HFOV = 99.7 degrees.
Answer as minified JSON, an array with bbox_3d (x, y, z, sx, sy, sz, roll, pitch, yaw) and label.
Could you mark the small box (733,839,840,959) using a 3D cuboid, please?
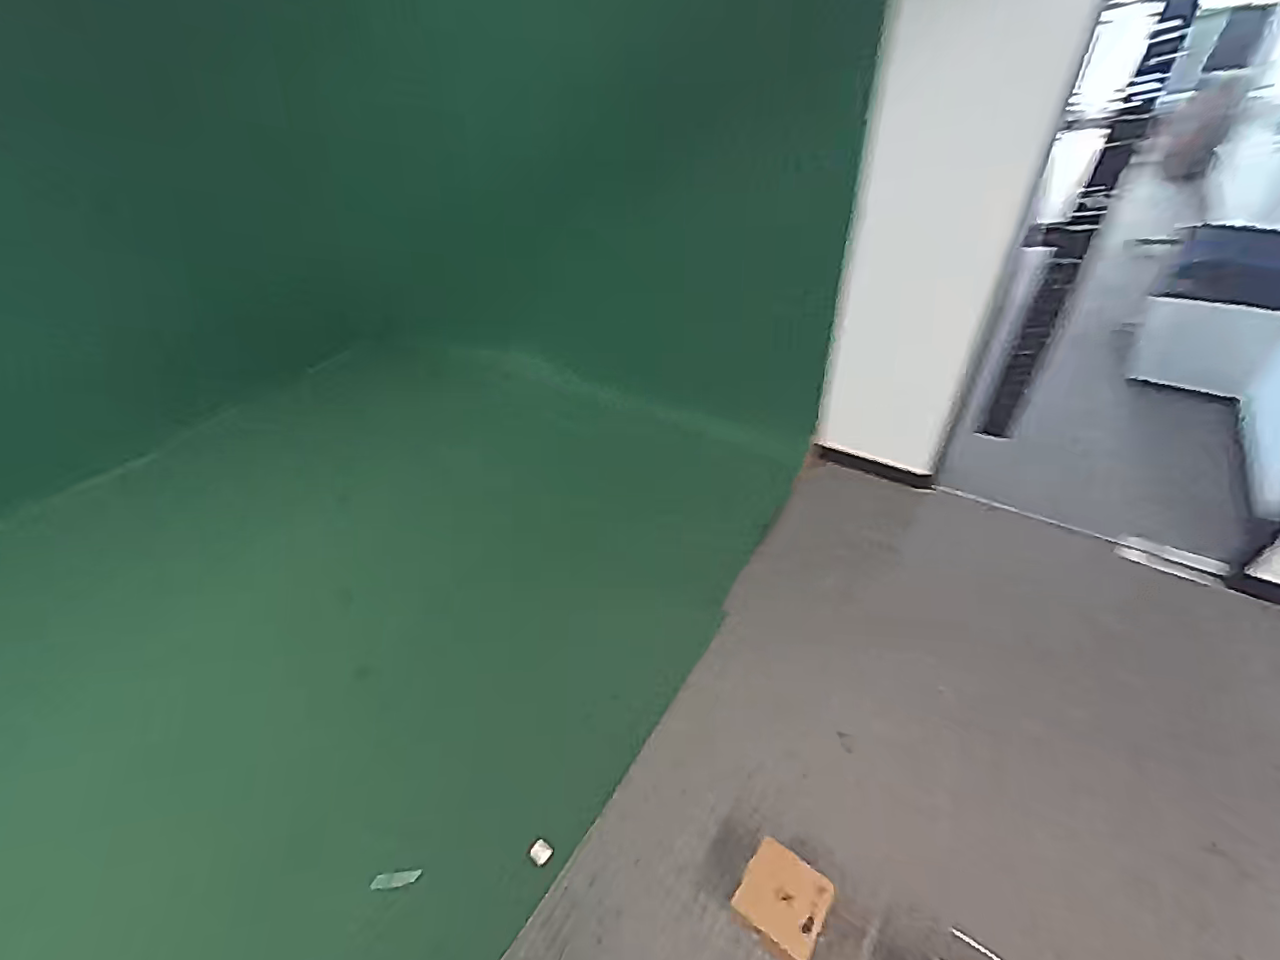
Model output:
[{"bbox_3d":[0.322,0.964,1.216,0.179,0.176,0.168,25,51,31],"label":"small box"}]
